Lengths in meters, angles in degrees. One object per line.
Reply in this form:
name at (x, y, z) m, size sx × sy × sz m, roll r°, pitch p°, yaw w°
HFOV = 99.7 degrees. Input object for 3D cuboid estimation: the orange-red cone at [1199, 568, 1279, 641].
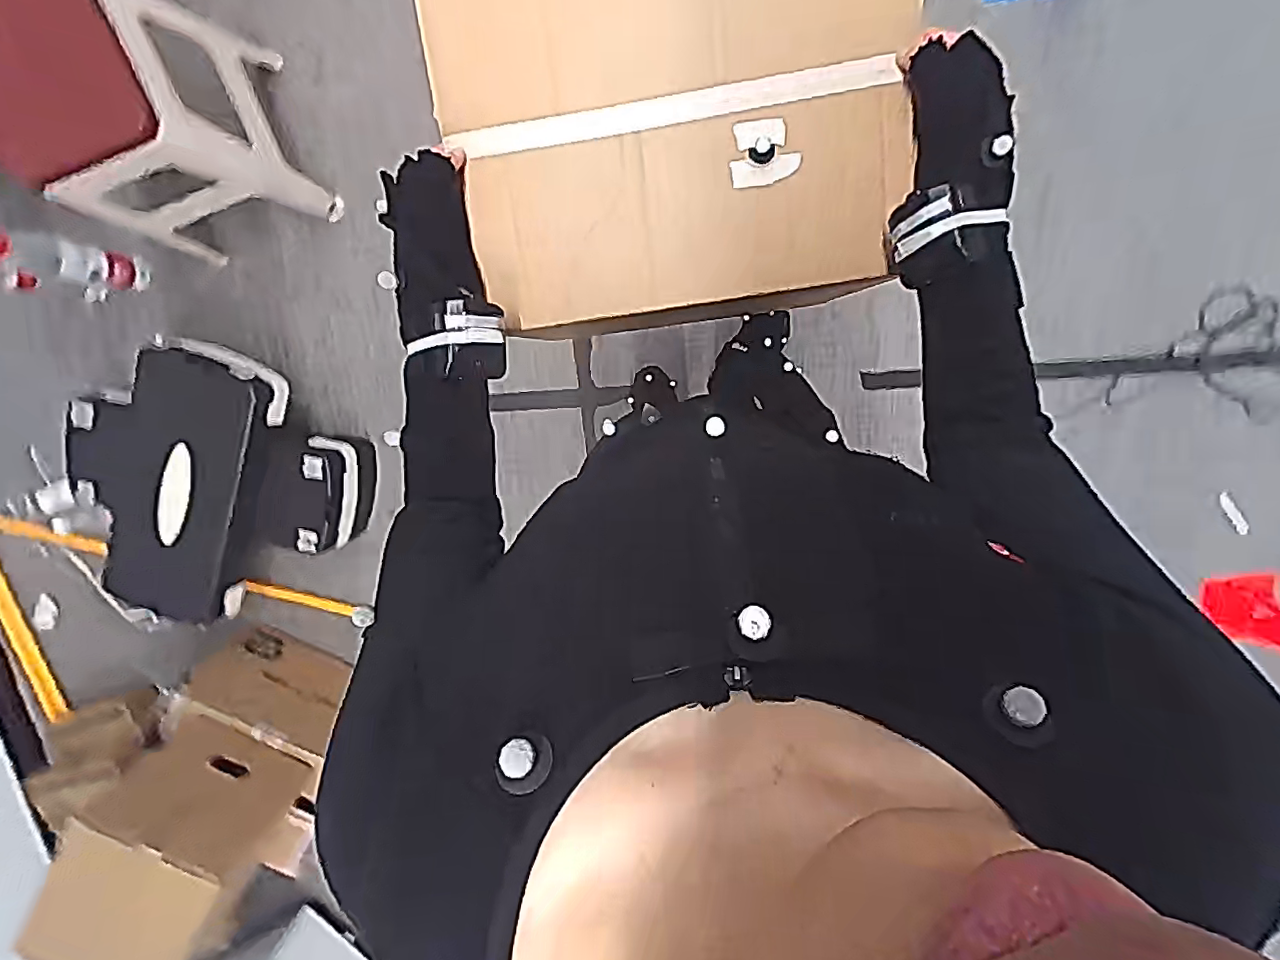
orange-red cone at (1.678, 0.385, 1.348) m, size 0.199 × 0.360 × 0.198 m, roll -7°, pitch 104°, yaw 2°

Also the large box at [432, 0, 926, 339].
large box at (0.041, -0.347, 0.604) m, size 0.408 × 0.320 × 0.320 m, roll -6°, pitch 103°, yaw 3°
